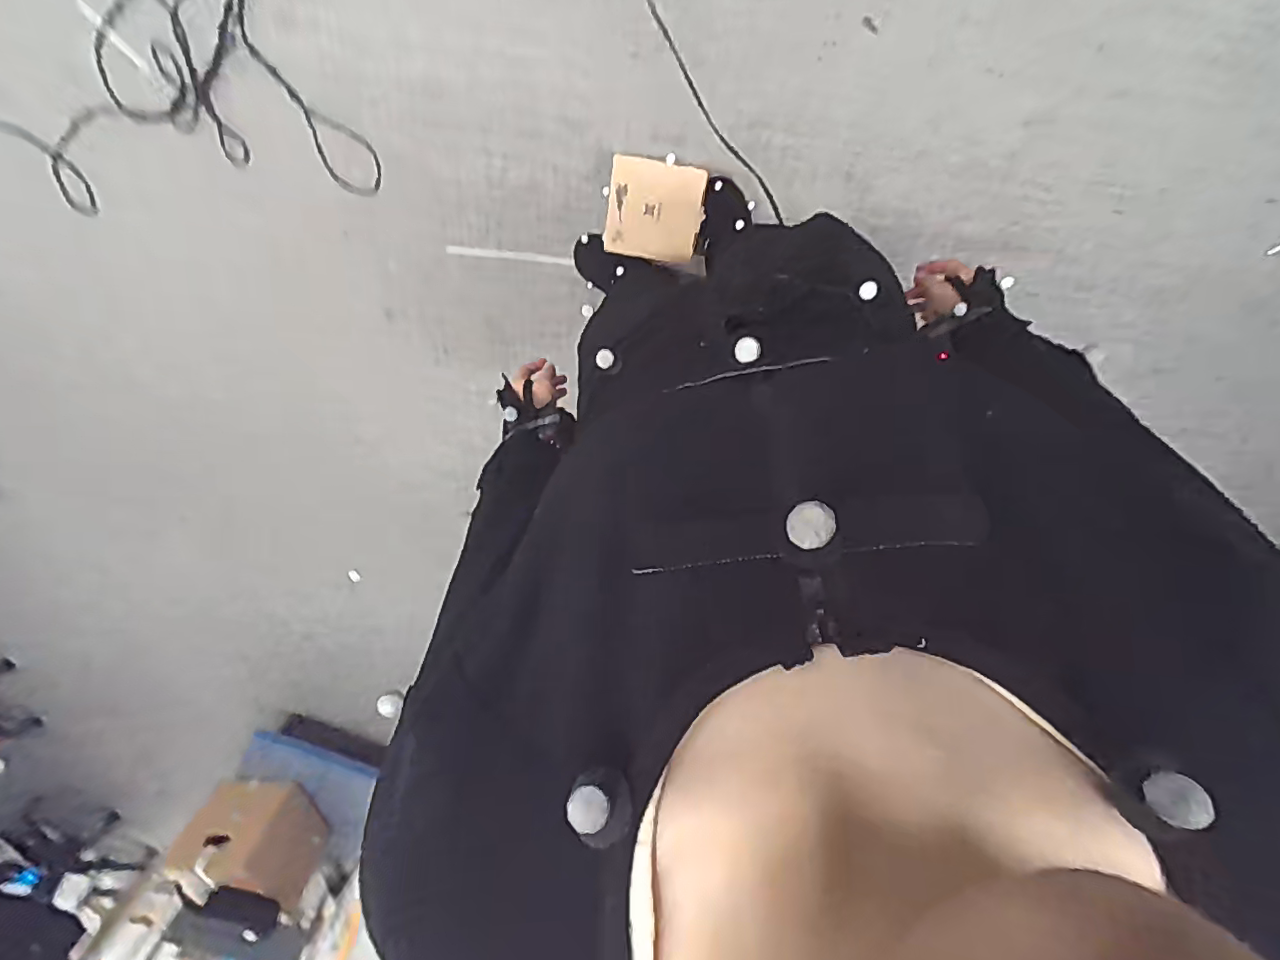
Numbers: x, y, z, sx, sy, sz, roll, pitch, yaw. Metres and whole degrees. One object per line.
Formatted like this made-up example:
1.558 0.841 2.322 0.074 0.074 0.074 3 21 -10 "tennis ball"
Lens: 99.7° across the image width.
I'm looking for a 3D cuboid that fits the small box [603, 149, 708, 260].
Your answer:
0.028 -0.551 1.075 0.179 0.176 0.168 8 121 -3 "small box"
